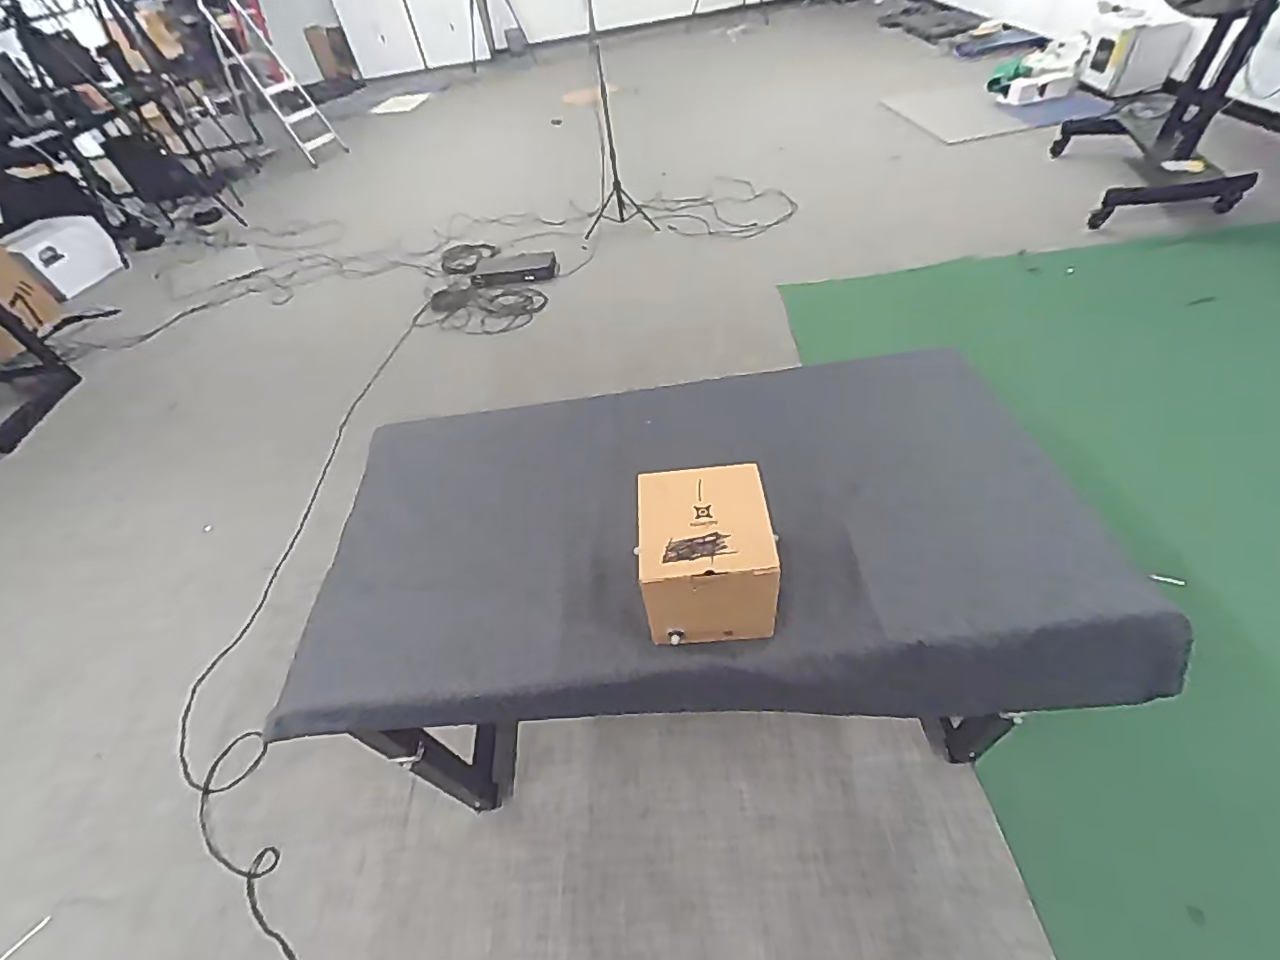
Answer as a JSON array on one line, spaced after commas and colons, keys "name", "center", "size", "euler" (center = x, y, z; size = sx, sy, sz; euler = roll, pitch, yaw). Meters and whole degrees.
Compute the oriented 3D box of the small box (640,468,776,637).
[{"name": "small box", "center": [0.092, 0.107, 0.754], "size": [0.168, 0.176, 0.179], "euler": [-4, 46, 5]}]
